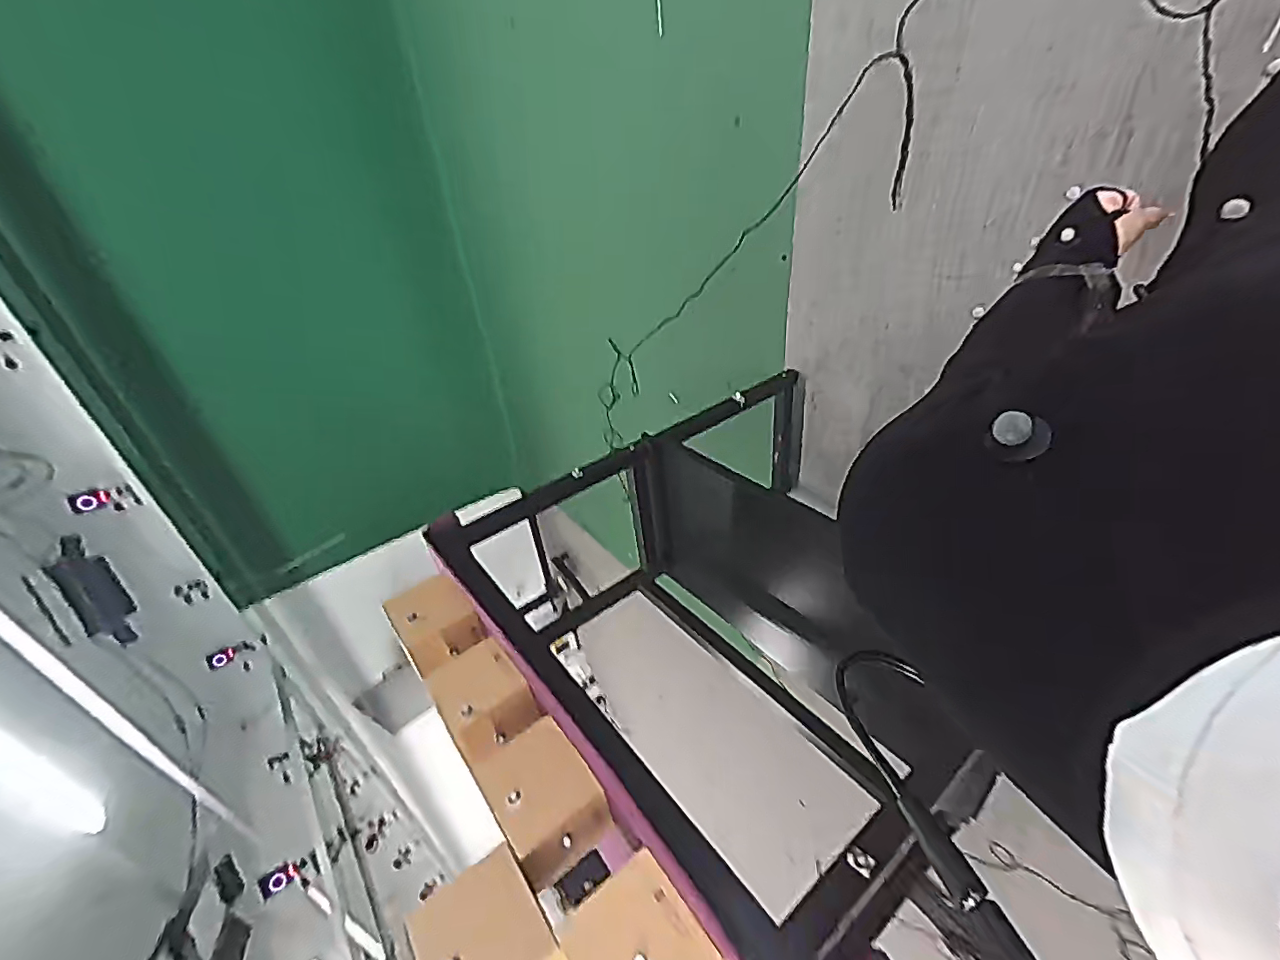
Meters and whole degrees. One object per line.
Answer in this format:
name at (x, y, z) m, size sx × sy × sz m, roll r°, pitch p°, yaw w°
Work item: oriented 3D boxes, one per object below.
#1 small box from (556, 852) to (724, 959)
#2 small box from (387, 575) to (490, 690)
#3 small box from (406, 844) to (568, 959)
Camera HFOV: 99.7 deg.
small box at (0.005, 0.682, 0.771) m, size 0.168 × 0.176 × 0.179 m, roll 36°, pitch 144°, yaw 41°
small box at (-0.482, 0.362, 1.320) m, size 0.179 × 0.176 × 0.168 m, roll 36°, pitch 141°, yaw 40°
small box at (-0.207, 0.690, 0.788) m, size 0.179 × 0.176 × 0.168 m, roll 33°, pitch 141°, yaw 45°
